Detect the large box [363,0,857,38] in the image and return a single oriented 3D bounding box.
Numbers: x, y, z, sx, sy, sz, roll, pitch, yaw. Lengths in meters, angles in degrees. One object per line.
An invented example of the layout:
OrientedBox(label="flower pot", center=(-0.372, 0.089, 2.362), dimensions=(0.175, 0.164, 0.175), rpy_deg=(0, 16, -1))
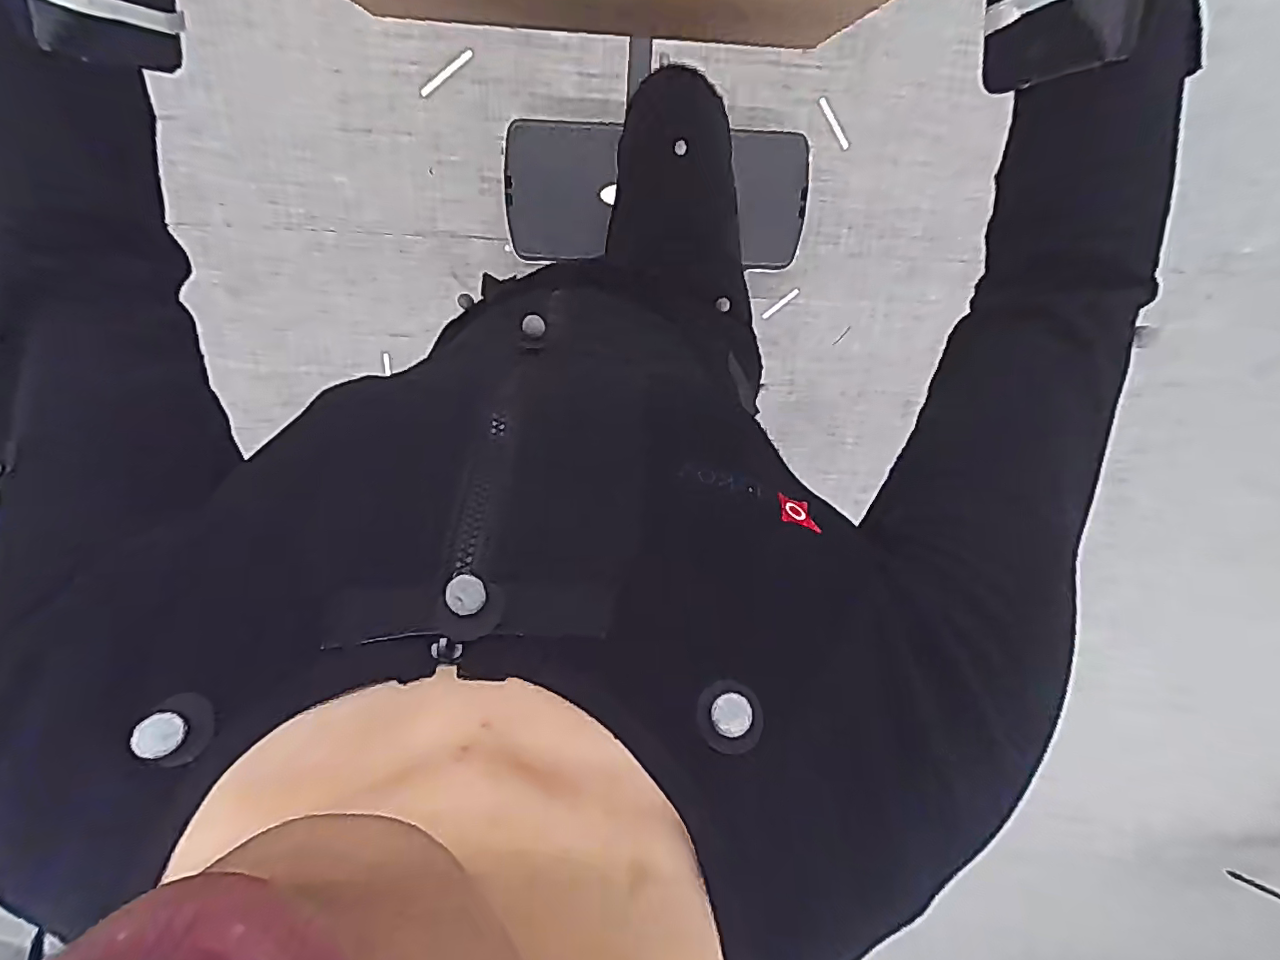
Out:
OrientedBox(label="large box", center=(-0.026, -0.474, 0.294), dimensions=(0.408, 0.320, 0.320), rpy_deg=(1, 120, -3))
